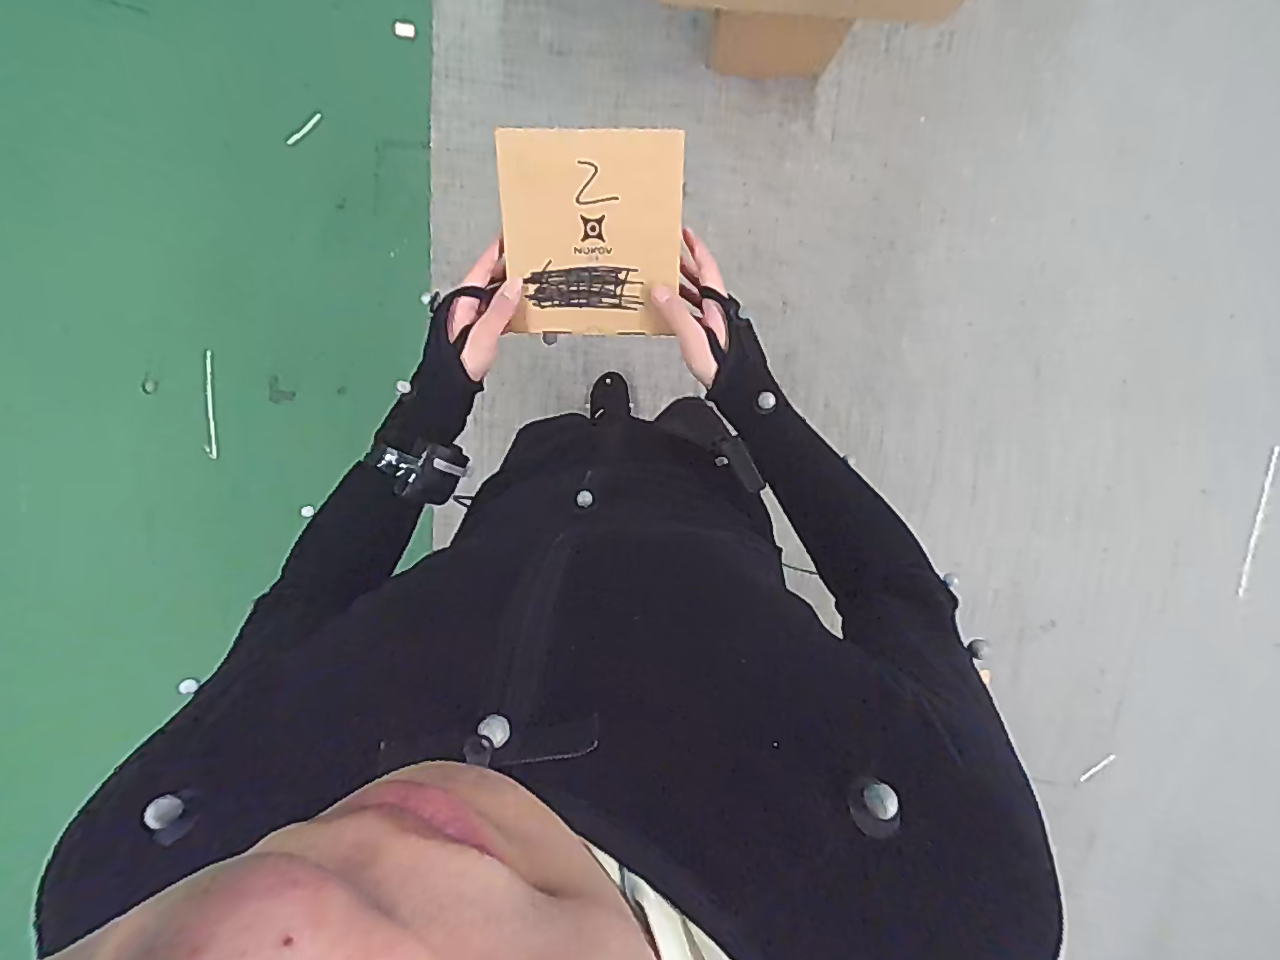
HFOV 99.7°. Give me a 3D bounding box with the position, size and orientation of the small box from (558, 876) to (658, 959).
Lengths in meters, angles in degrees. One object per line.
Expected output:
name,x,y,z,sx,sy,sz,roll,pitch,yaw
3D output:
small box,-0.056,0.849,0.951,0.168,0.176,0.179,4,101,-2
